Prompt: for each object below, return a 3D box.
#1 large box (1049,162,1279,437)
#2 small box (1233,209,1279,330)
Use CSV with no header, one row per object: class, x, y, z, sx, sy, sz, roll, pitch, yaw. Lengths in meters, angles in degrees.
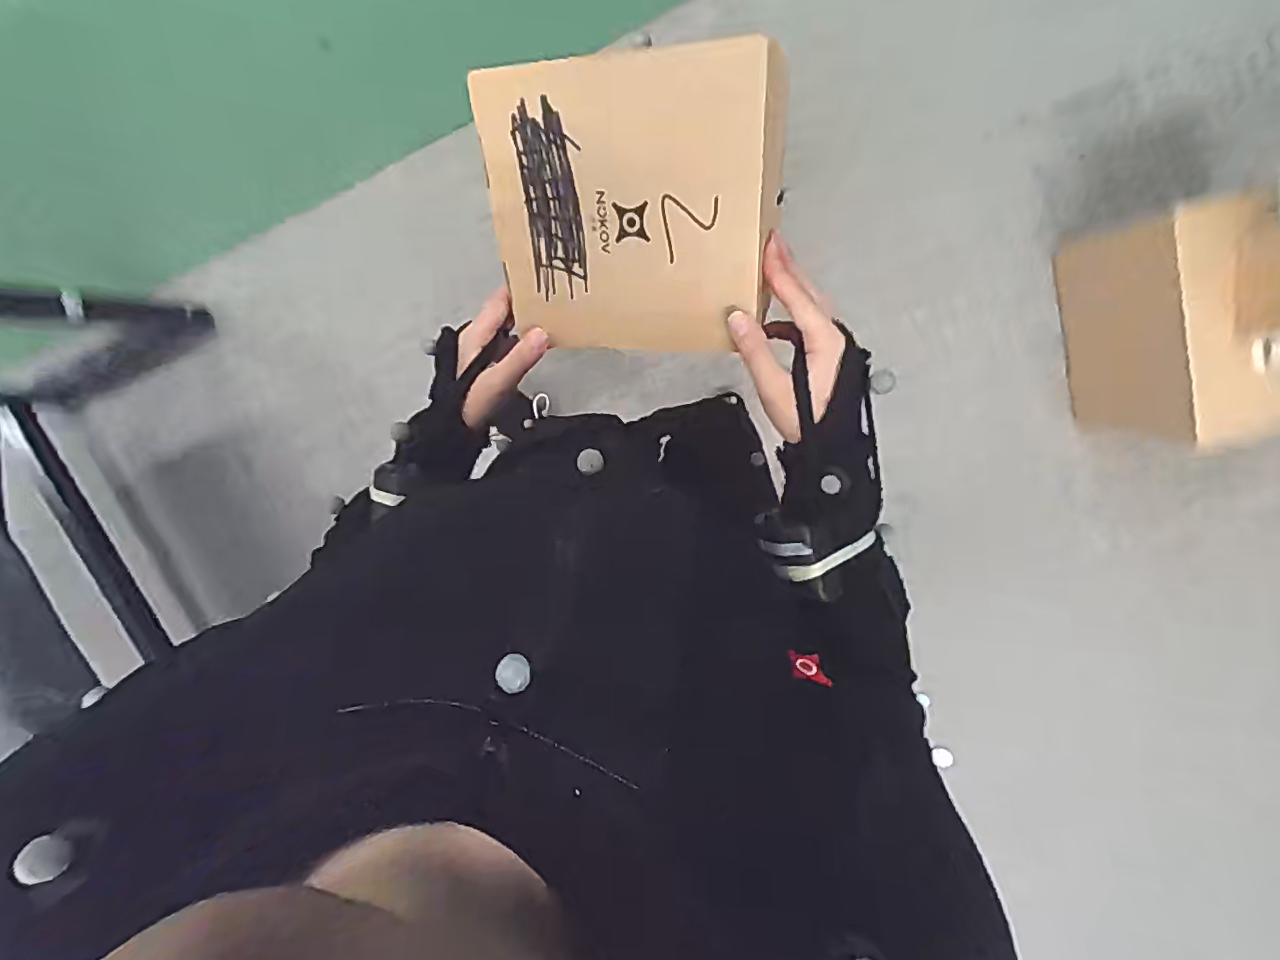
large box,1.057,-0.335,1.021,0.320,0.320,0.408,-16,102,10
small box,1.022,-0.322,0.777,0.168,0.176,0.179,-11,102,8
